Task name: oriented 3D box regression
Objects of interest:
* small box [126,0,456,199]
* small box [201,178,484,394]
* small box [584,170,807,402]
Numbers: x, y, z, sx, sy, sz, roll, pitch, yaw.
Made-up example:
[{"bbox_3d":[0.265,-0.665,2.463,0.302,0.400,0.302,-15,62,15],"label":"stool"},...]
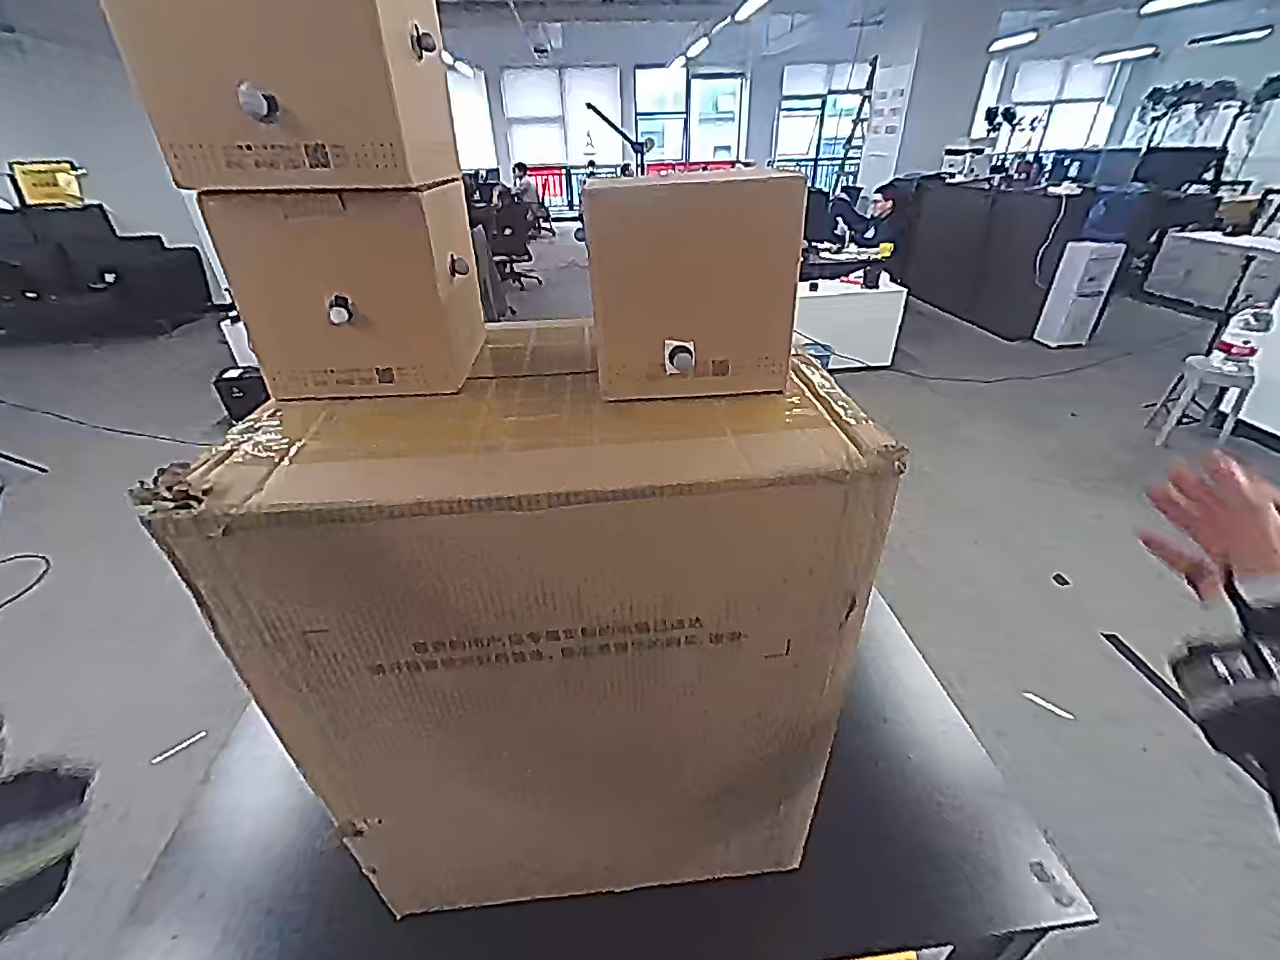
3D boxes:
[{"bbox_3d":[-0.251,-0.321,0.420,0.168,0.176,0.179,-3,32,-3],"label":"small box"},{"bbox_3d":[-0.254,-0.188,0.521,0.168,0.176,0.179,-3,32,-5],"label":"small box"},{"bbox_3d":[0.041,-0.184,0.502,0.168,0.176,0.179,-5,32,-1],"label":"small box"}]
